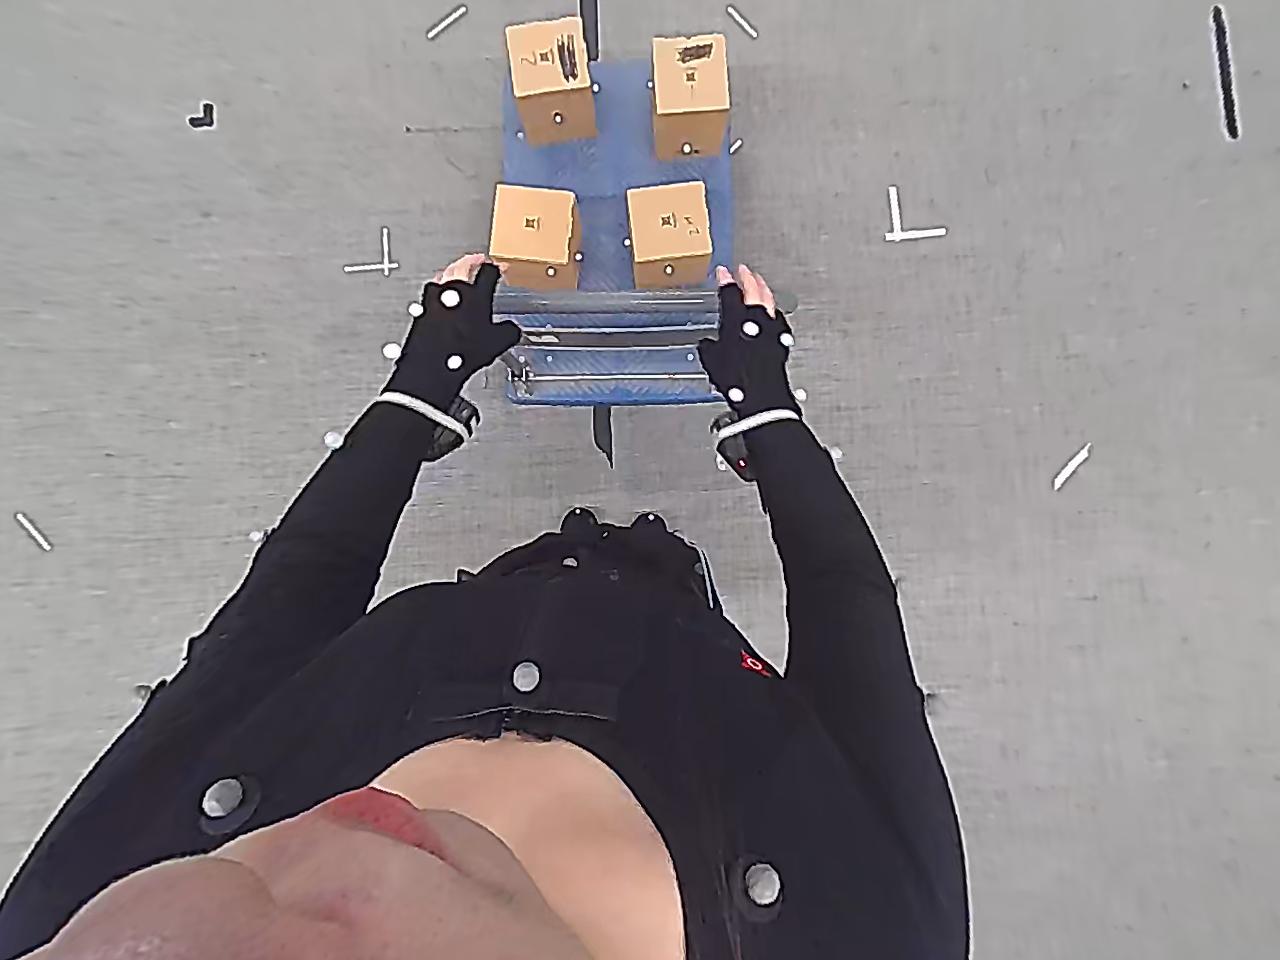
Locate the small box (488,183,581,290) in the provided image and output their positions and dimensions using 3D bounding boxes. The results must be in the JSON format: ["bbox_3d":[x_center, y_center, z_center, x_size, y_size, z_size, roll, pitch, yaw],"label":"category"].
[{"bbox_3d":[-0.240,-0.562,1.268,0.179,0.176,0.168,5,87,-1],"label":"small box"}]

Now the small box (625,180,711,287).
[{"bbox_3d":[0.064,-0.568,1.267,0.179,0.176,0.168,-6,88,0],"label":"small box"}]

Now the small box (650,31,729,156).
[{"bbox_3d":[0.111,-0.905,1.277,0.168,0.176,0.179,-4,89,1],"label":"small box"}]
